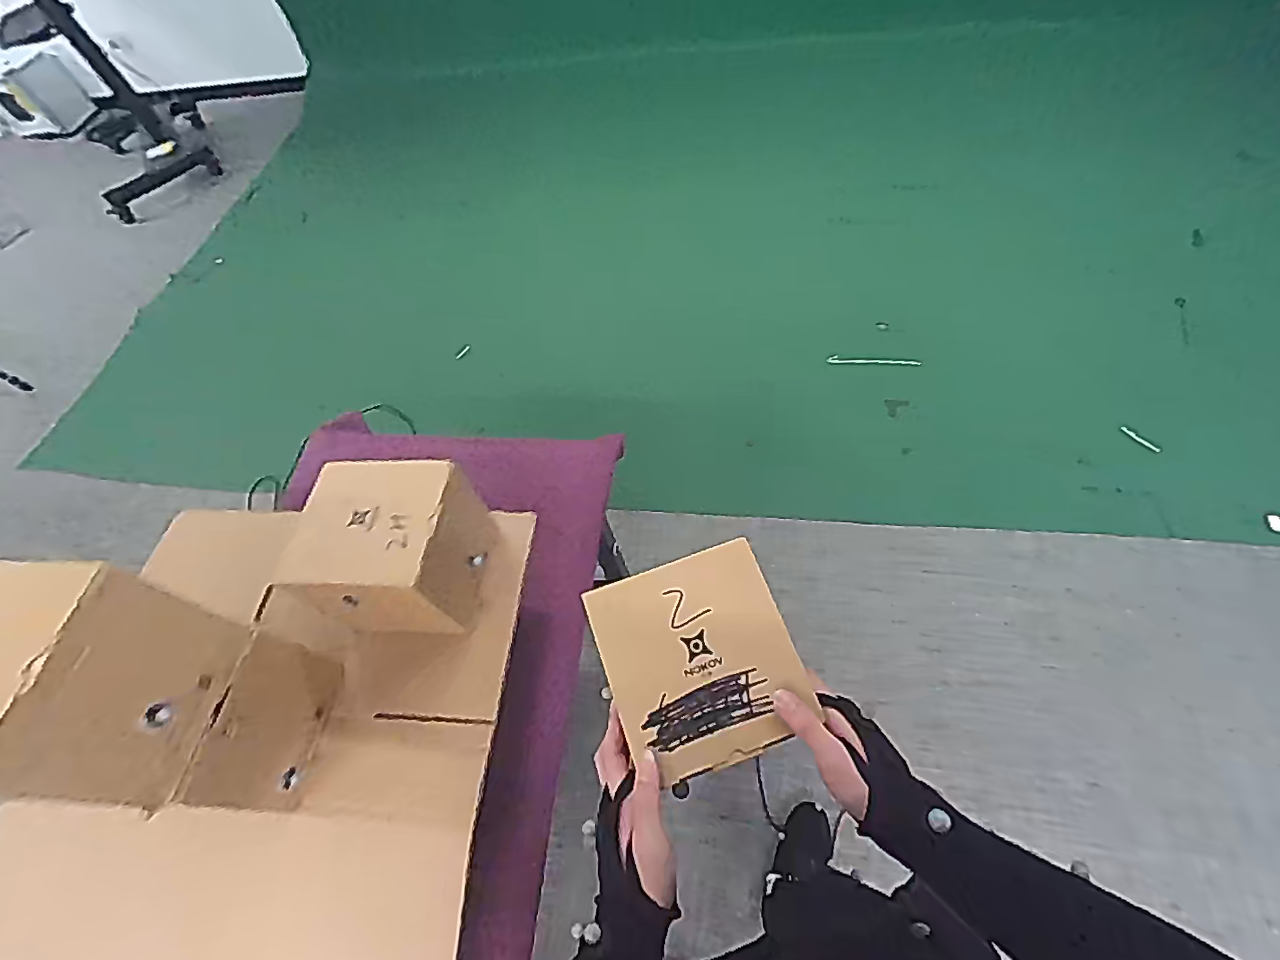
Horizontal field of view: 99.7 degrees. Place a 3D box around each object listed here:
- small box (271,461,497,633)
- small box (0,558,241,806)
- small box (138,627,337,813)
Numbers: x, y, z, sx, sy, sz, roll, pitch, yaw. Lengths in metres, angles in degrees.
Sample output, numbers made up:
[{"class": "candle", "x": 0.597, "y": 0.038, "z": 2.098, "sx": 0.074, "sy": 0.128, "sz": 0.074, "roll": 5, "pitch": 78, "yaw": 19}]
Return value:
[{"class": "small box", "x": -0.308, "y": 0.090, "z": 0.694, "sx": 0.179, "sy": 0.176, "sz": 0.168, "roll": 0, "pitch": 57, "yaw": 8}, {"class": "small box", "x": -0.509, "y": 0.178, "z": 0.467, "sx": 0.179, "sy": 0.176, "sz": 0.168, "roll": -1, "pitch": 56, "yaw": 6}, {"class": "small box", "x": -0.482, "y": 0.267, "z": 0.601, "sx": 0.179, "sy": 0.176, "sz": 0.168, "roll": -1, "pitch": 56, "yaw": 8}]
